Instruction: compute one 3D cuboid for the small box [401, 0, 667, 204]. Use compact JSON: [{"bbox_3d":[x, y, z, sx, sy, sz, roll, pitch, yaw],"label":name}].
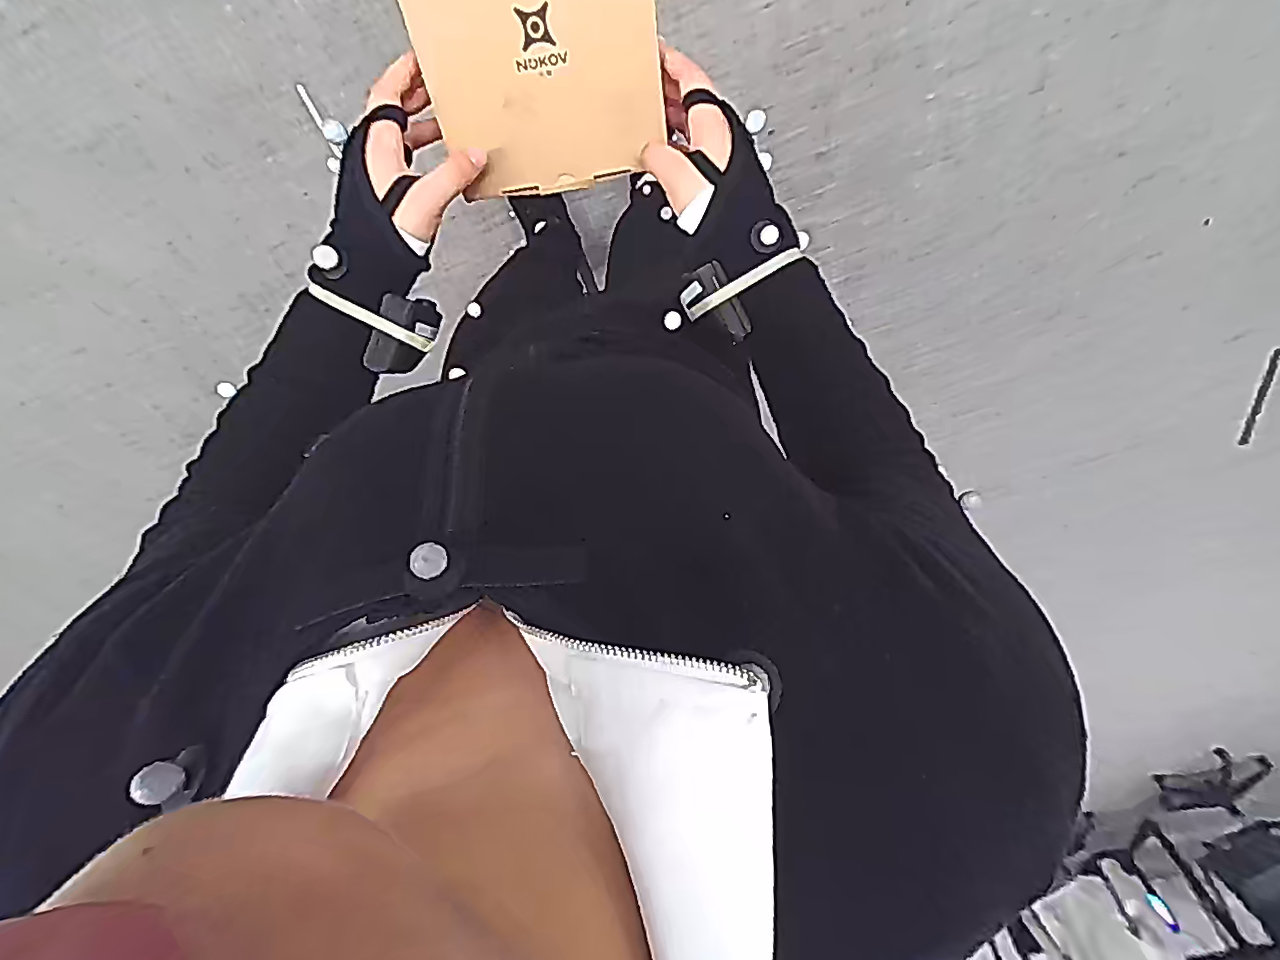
[{"bbox_3d":[-0.073,-0.347,0.429,0.168,0.176,0.179,-9,131,2],"label":"small box"}]
